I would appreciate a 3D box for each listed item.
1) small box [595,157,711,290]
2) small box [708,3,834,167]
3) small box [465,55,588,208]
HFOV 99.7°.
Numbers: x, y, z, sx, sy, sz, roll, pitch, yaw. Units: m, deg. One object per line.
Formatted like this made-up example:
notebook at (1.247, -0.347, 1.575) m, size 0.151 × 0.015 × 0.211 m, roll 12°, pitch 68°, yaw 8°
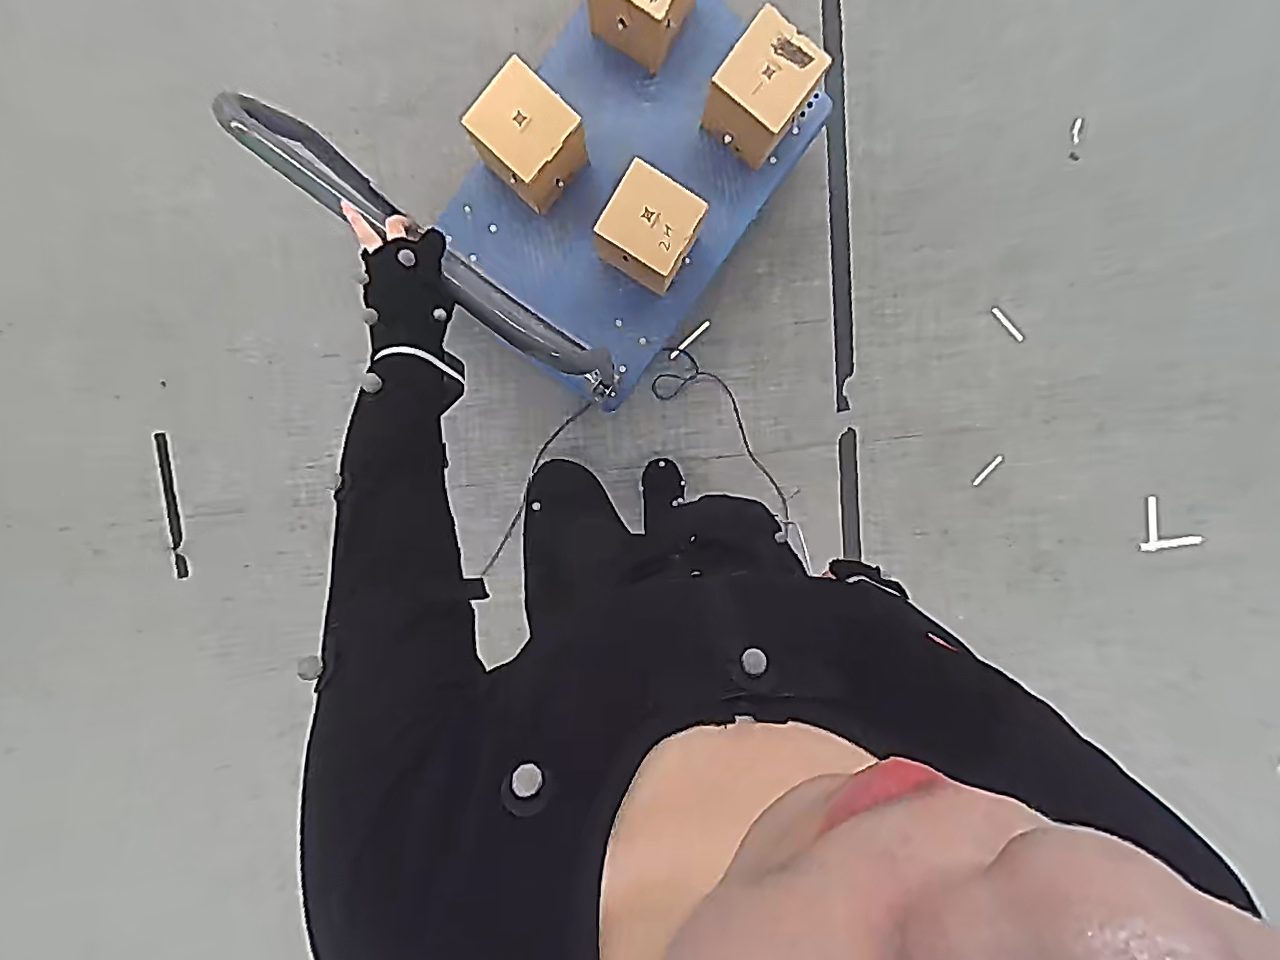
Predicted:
small box at (0.024, -0.530, 1.149) m, size 0.179 × 0.176 × 0.168 m, roll 32°, pitch 95°, yaw -4°
small box at (0.258, -0.802, 1.120) m, size 0.168 × 0.176 × 0.179 m, roll 38°, pitch 96°, yaw -5°
small box at (-0.226, -0.708, 1.125) m, size 0.179 × 0.176 × 0.168 m, roll 41°, pitch 94°, yaw -6°
